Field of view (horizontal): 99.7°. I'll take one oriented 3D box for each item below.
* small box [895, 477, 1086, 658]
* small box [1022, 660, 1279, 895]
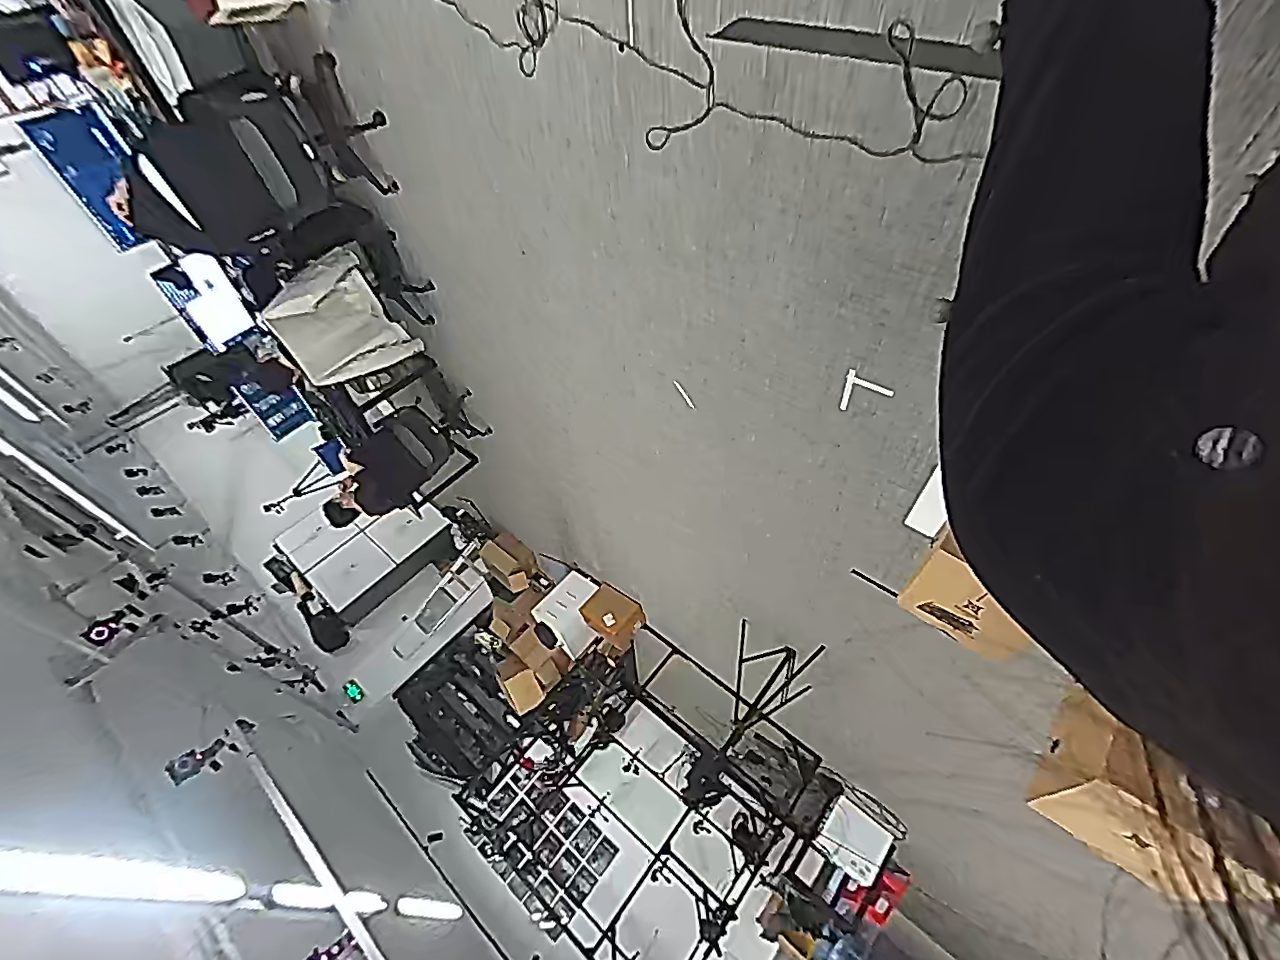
[{"bbox_3d":[0.529,0.131,0.824,0.168,0.176,0.179,33,149,24],"label":"small box"},{"bbox_3d":[0.615,0.355,0.654,0.168,0.176,0.179,31,149,26],"label":"small box"}]
